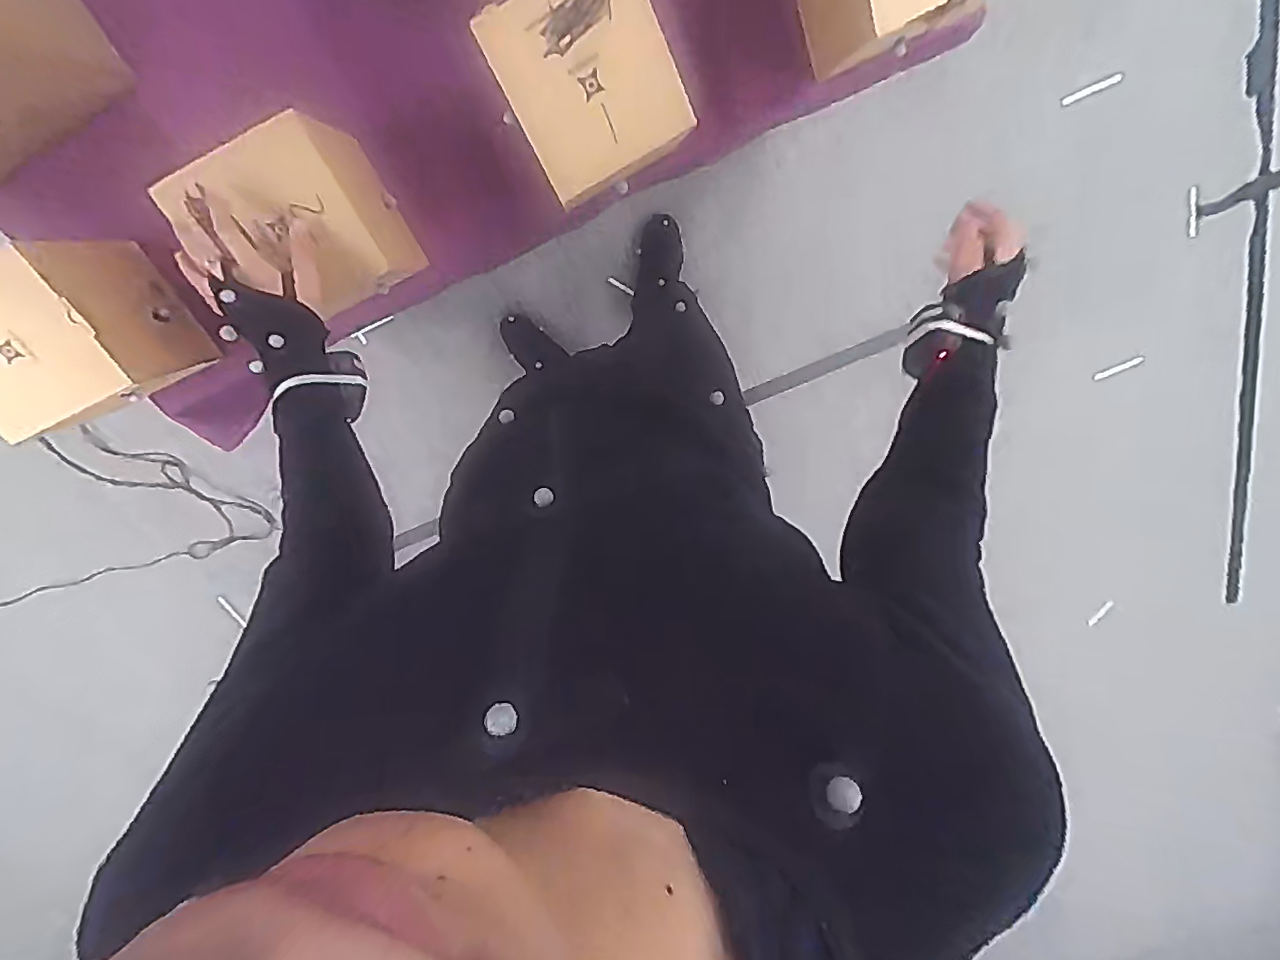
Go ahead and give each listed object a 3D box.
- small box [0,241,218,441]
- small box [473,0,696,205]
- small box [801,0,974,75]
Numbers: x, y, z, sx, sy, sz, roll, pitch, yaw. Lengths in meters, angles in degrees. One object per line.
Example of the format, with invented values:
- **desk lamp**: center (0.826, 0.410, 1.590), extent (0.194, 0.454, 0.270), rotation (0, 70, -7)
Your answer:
- **small box**: center (-0.688, -0.175, 0.666), extent (0.179, 0.176, 0.168), rotation (-25, 114, 5)
- **small box**: center (-0.058, -0.434, 0.607), extent (0.168, 0.176, 0.179), rotation (-27, 114, 7)
- **small box**: center (0.271, -0.578, 0.570), extent (0.168, 0.176, 0.179), rotation (-22, 114, 6)
